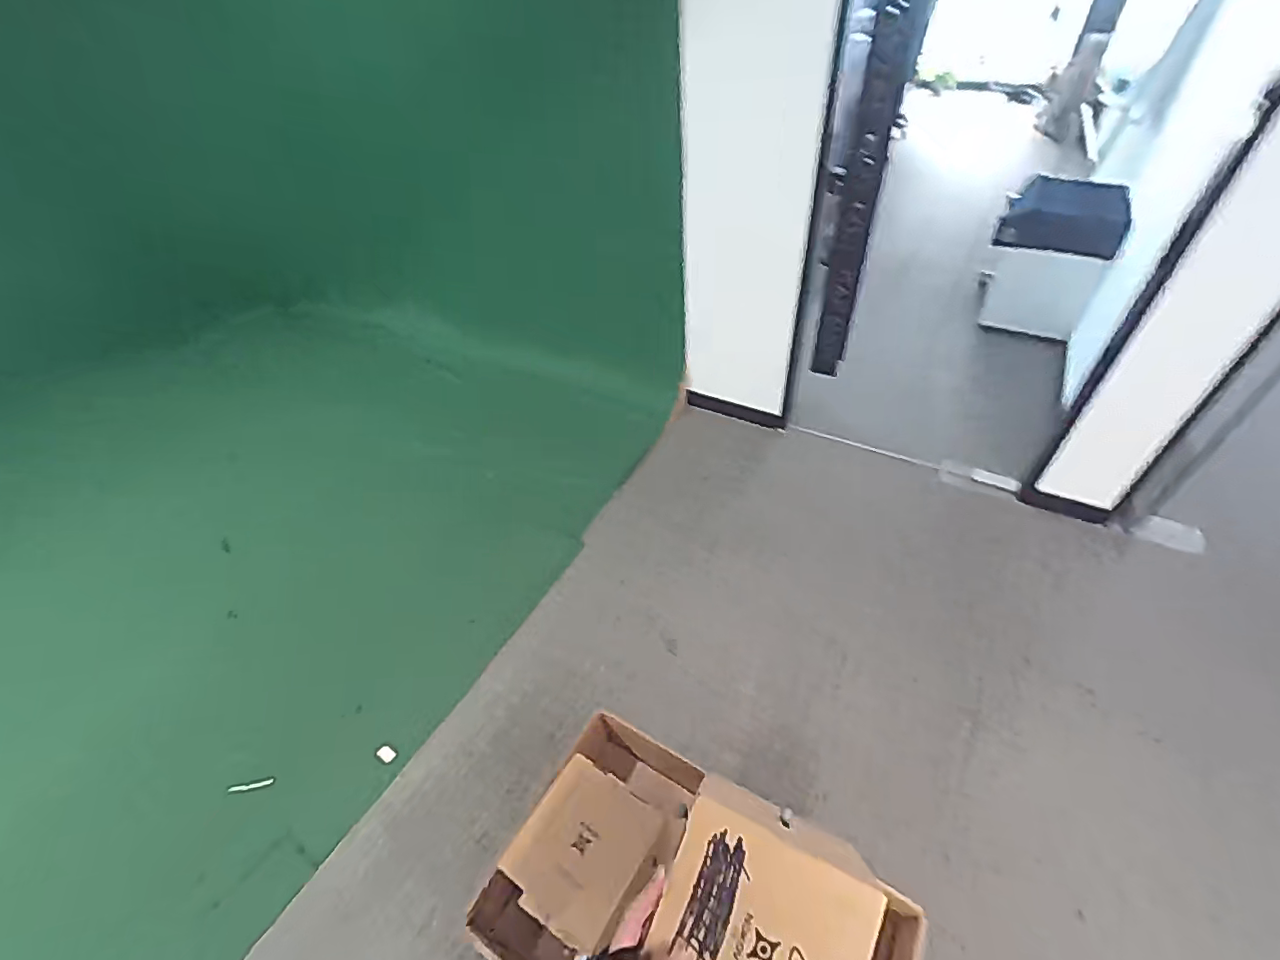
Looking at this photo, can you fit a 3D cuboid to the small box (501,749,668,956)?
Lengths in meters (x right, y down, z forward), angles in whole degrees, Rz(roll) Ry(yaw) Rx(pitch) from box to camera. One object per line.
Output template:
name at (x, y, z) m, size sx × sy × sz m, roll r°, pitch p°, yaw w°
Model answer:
small box at (-0.072, 0.547, 0.798) m, size 0.168 × 0.176 × 0.179 m, roll 23°, pitch 51°, yaw 27°
